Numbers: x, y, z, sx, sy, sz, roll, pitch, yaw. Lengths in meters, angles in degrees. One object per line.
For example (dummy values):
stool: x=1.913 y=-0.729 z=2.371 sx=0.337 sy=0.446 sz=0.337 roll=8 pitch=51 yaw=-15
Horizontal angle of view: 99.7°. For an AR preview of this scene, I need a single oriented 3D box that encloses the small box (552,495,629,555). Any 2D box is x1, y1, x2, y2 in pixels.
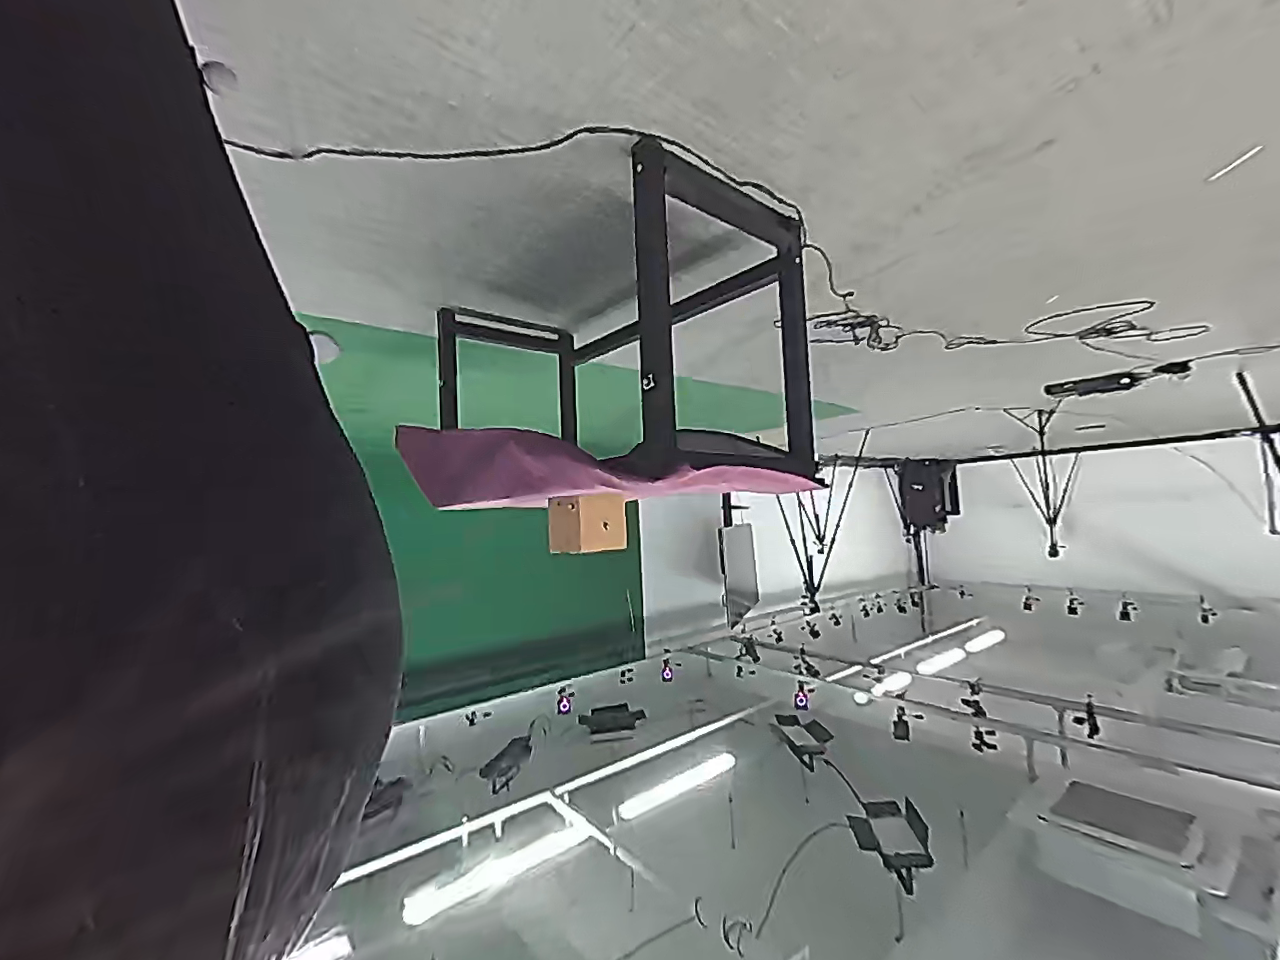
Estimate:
small box: x=-0.156 y=0.138 z=1.650 sx=0.179 sy=0.176 sz=0.168 roll=0 pitch=175 yaw=-42
